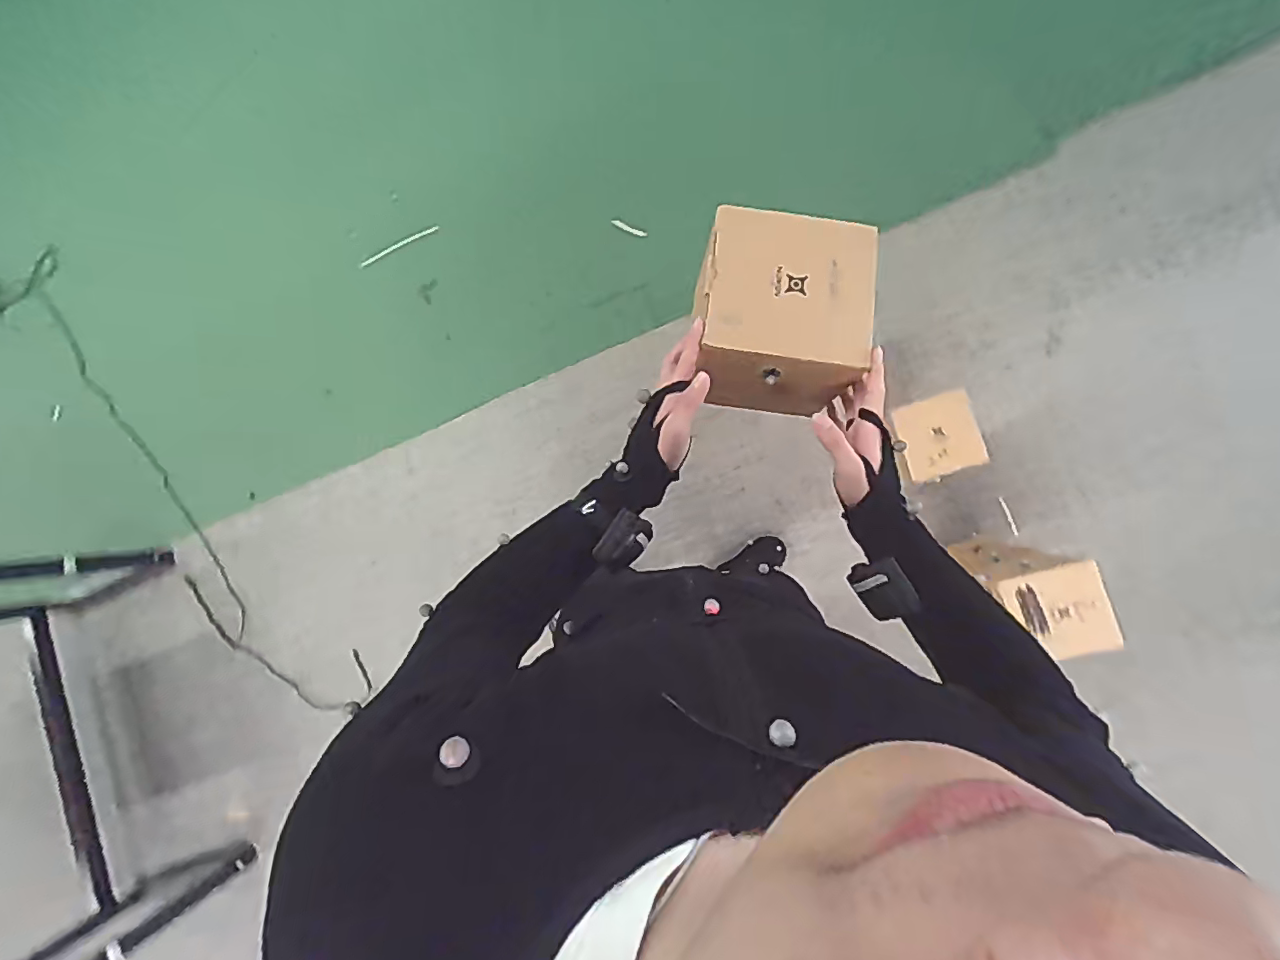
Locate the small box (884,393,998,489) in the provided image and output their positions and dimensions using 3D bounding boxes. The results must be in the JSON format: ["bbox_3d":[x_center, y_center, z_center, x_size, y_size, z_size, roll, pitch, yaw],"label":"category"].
[{"bbox_3d":[0.698,-0.083,1.277,0.168,0.176,0.179,-17,84,11],"label":"small box"}]

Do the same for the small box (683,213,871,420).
[{"bbox_3d":[0.149,-0.179,0.636,0.179,0.176,0.168,7,78,0],"label":"small box"}]

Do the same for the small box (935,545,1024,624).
[{"bbox_3d":[0.888,0.270,1.384,0.168,0.176,0.179,-19,84,11],"label":"small box"}]

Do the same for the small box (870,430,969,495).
[{"bbox_3d":[0.735,-0.067,1.438,0.168,0.176,0.179,-18,84,10],"label":"small box"}]

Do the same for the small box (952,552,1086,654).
[{"bbox_3d":[0.842,0.272,1.228,0.179,0.176,0.168,-23,82,10],"label":"small box"}]
